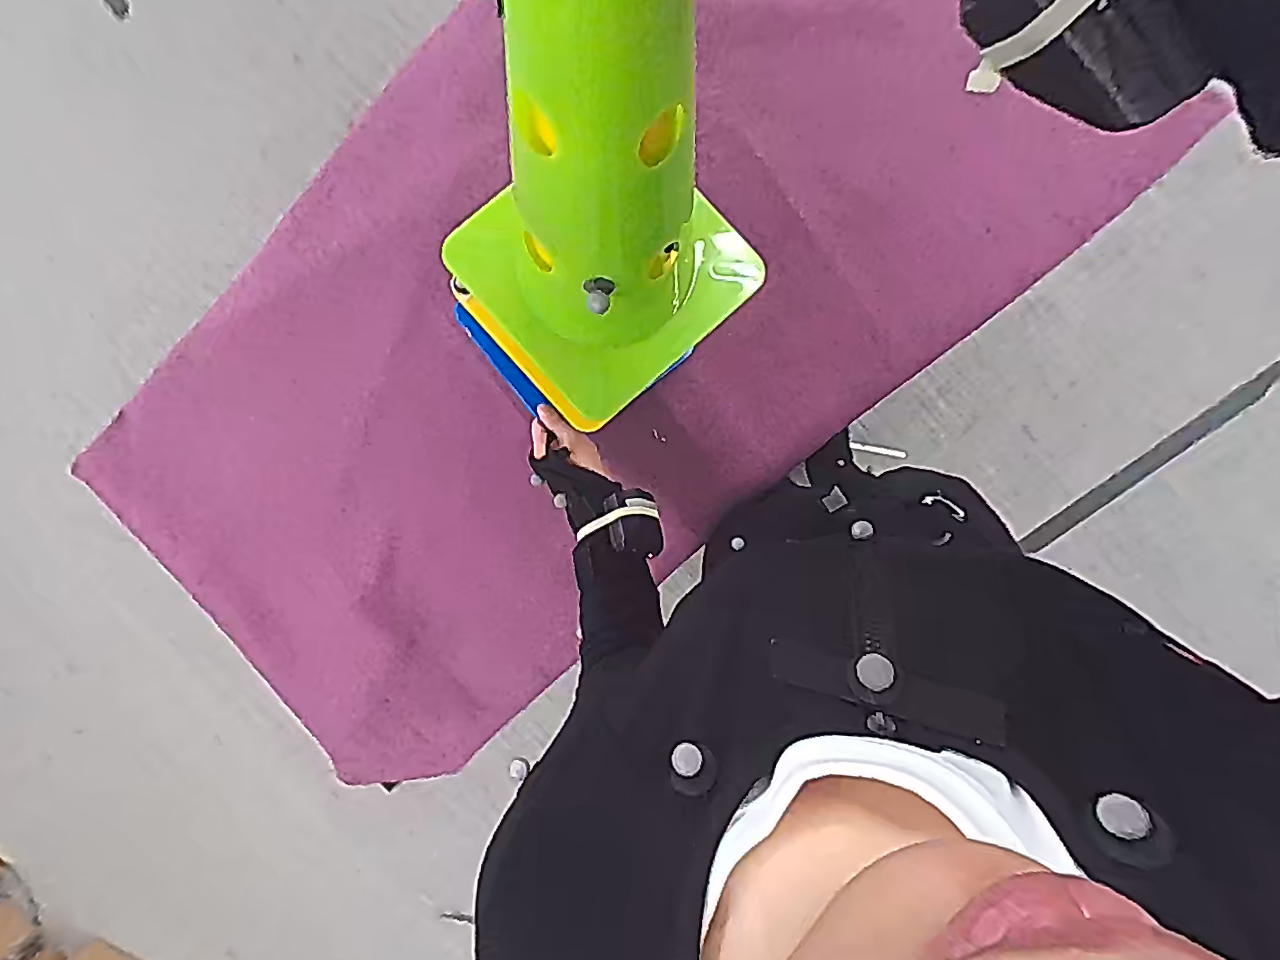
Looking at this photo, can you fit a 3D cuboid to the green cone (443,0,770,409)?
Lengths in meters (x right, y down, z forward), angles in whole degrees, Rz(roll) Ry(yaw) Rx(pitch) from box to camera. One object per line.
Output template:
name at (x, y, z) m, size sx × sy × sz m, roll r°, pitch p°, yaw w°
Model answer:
green cone at (-0.015, -0.198, 0.259) m, size 0.200 × 0.368 × 0.202 m, roll -43°, pitch 89°, yaw -6°
